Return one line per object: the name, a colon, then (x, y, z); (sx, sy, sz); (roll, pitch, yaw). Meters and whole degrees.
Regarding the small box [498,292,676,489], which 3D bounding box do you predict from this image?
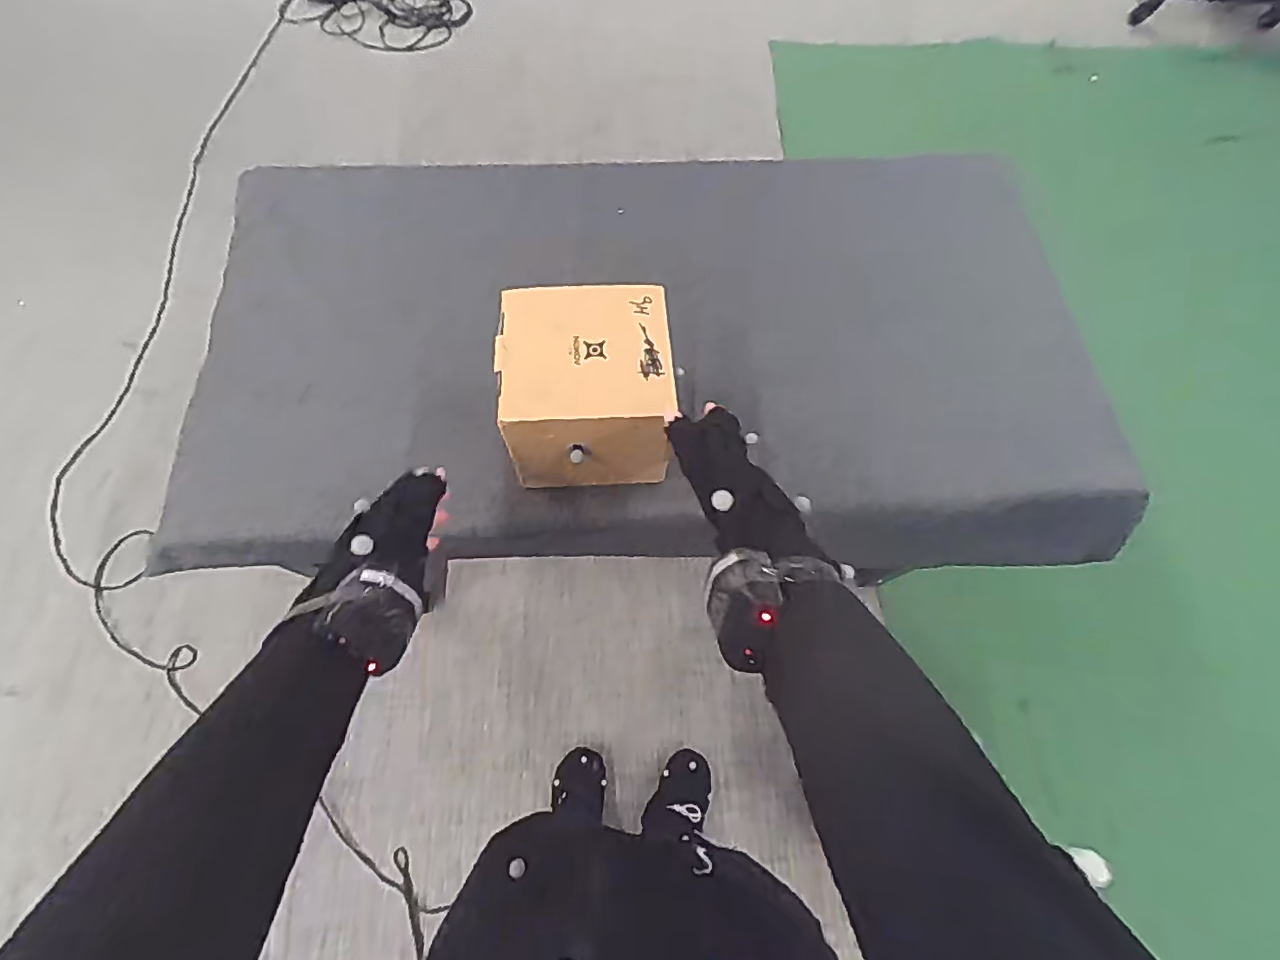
small box: (-0.057, -0.094, 0.628); (0.179, 0.176, 0.168); (-3, 67, -3)
